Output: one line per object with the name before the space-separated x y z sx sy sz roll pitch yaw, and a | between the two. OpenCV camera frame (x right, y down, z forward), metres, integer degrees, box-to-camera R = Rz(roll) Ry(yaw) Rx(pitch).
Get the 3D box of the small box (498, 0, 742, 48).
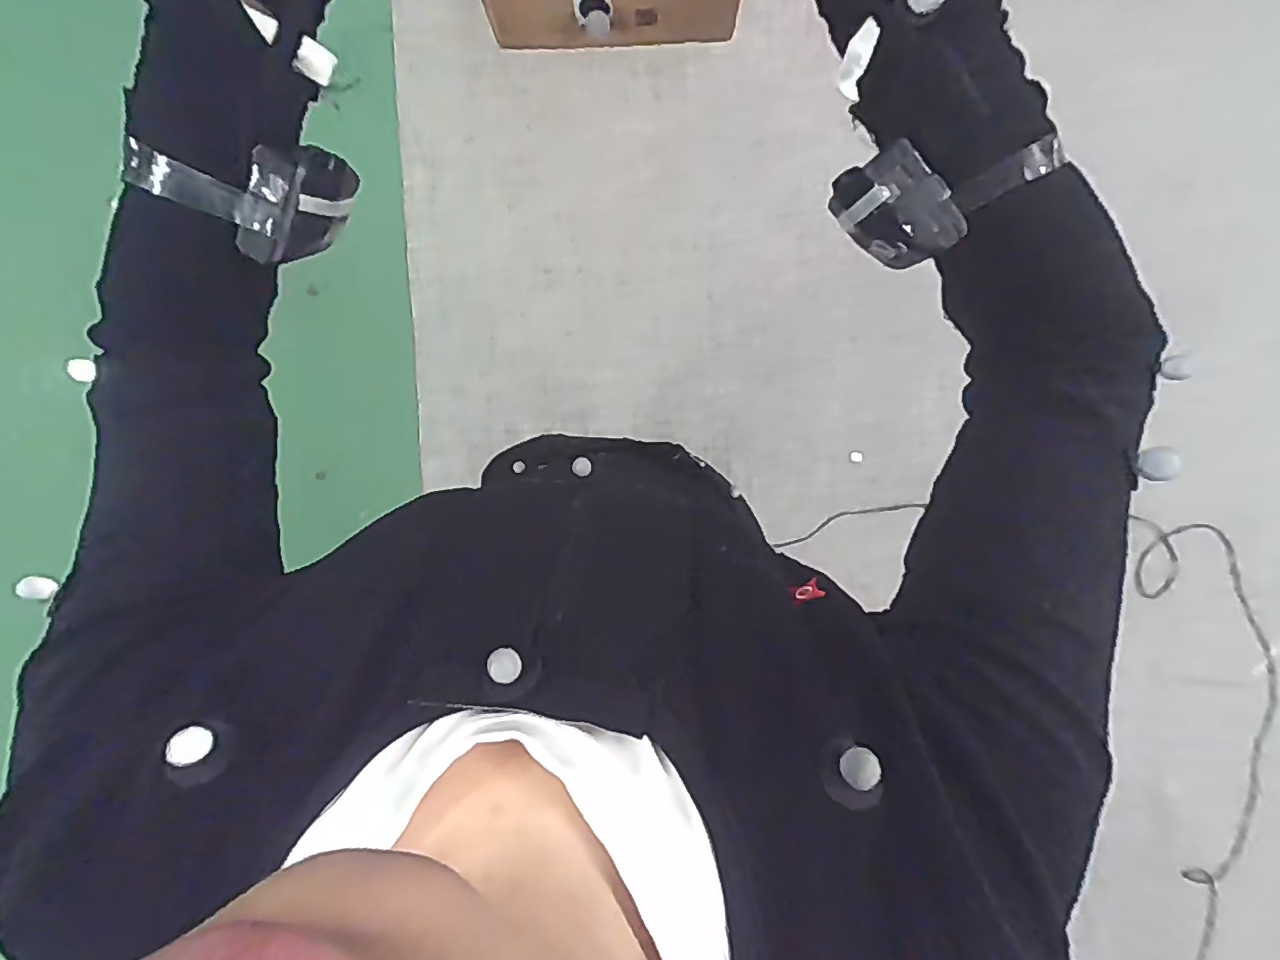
small box | -0.017 -0.386 0.293 0.168 0.176 0.179 -1 92 1
